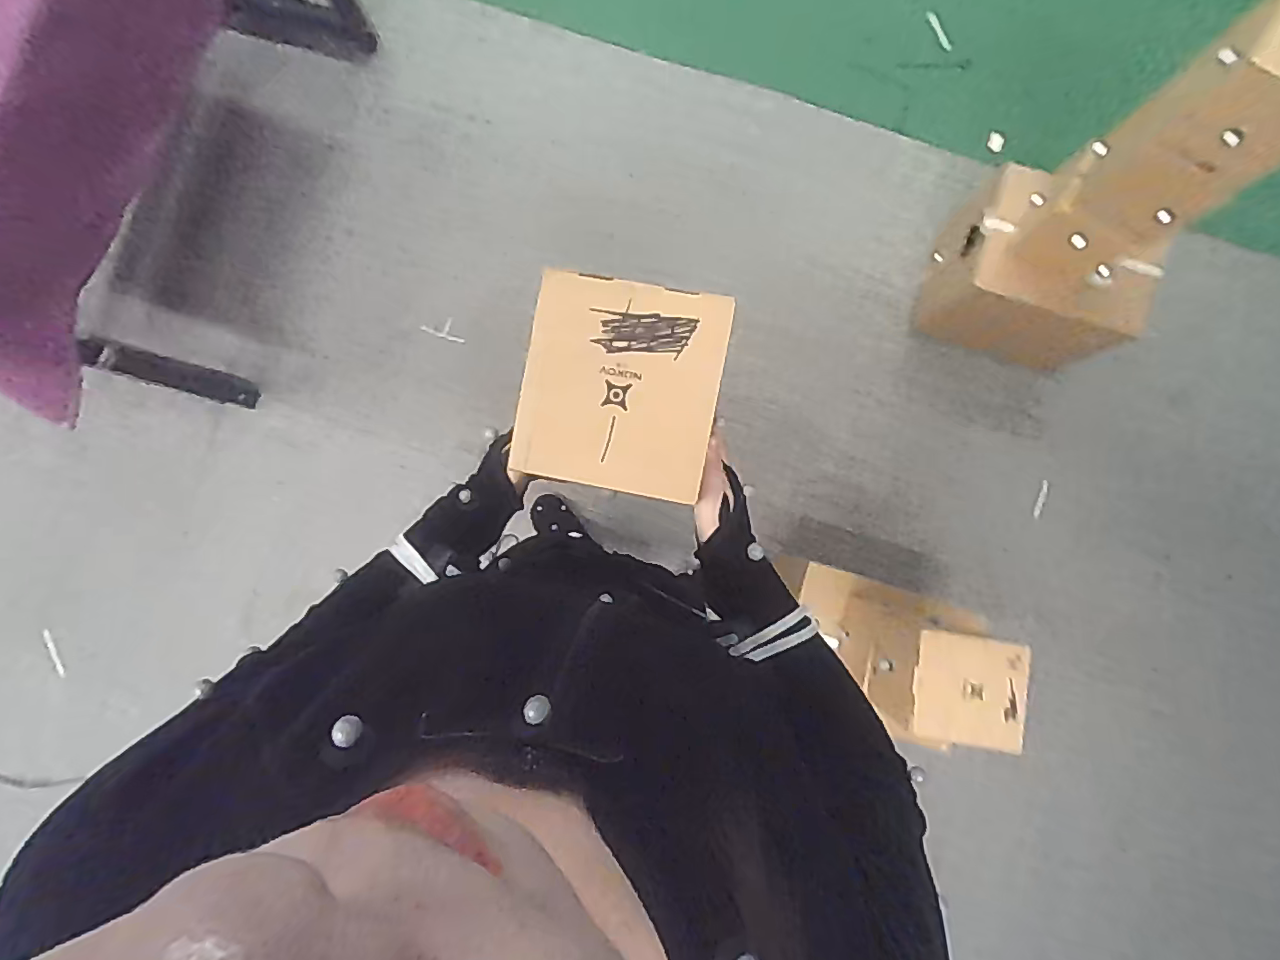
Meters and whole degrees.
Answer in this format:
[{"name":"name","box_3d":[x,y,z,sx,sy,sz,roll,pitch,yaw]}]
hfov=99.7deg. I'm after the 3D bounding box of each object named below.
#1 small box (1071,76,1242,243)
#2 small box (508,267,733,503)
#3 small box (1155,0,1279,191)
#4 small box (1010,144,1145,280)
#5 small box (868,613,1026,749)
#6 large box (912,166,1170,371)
[{"name":"small box","box_3d":[0.958,-0.567,0.986,0.179,0.176,0.168,33,86,3]},{"name":"small box","box_3d":[-0.013,-0.083,0.533,0.168,0.176,0.179,11,93,4]},{"name":"small box","box_3d":[0.956,-0.588,0.823,0.168,0.176,0.179,33,86,2]},{"name":"small box","box_3d":[0.948,-0.555,1.148,0.179,0.176,0.168,29,87,2]},{"name":"small box","box_3d":[0.518,0.334,0.935,0.179,0.176,0.168,10,85,2]},{"name":"large box","box_3d":[0.996,-0.518,1.389,0.408,0.320,0.320,18,87,1]}]
